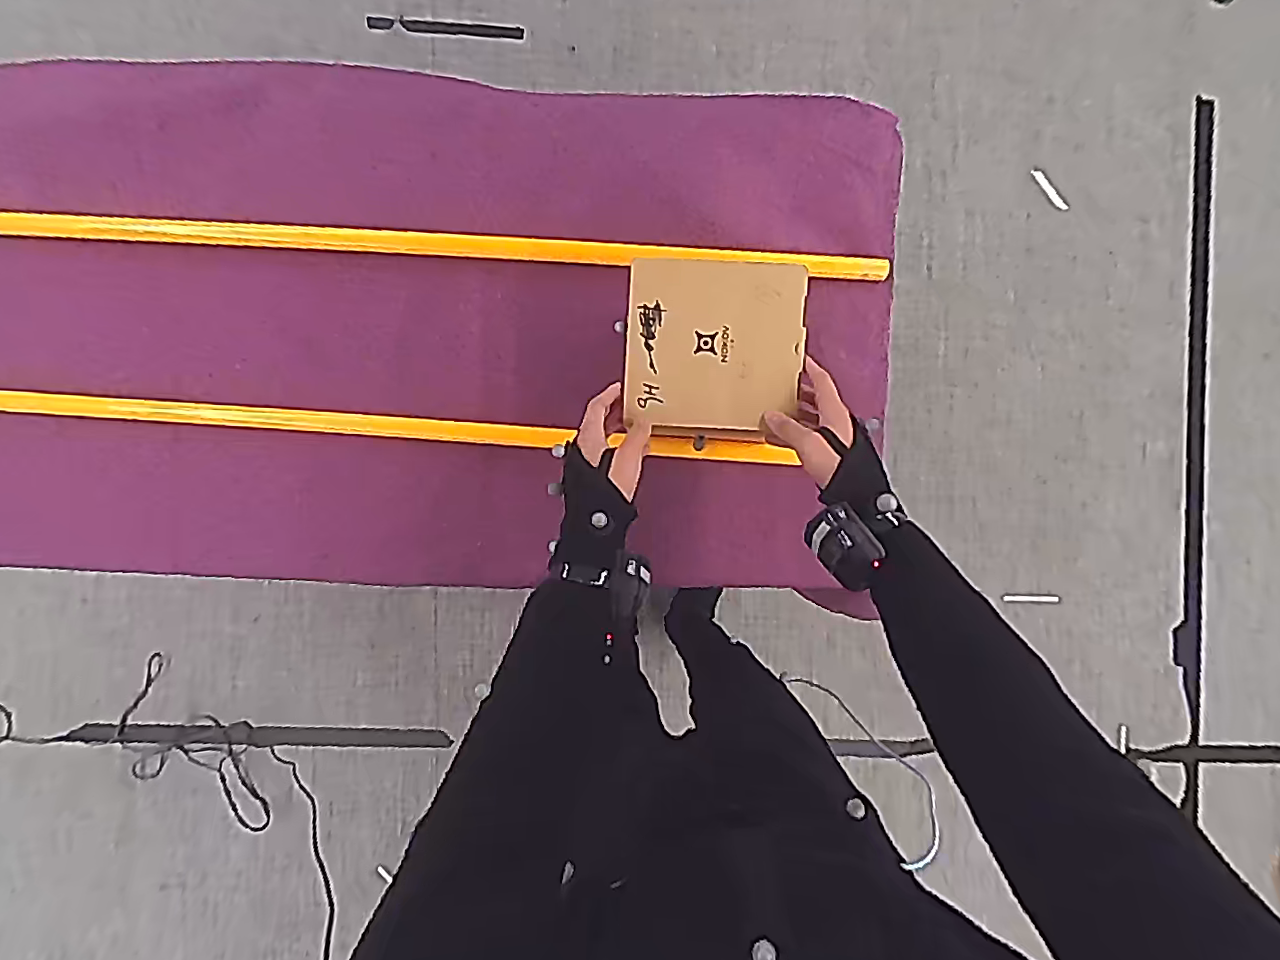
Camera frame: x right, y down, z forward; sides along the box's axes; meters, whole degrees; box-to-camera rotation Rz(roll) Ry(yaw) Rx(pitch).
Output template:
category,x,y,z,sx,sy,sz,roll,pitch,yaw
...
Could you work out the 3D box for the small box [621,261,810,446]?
category,x,y,z,sx,sy,sz,roll,pitch,yaw
small box,0.074,-0.127,0.605,0.179,0.176,0.168,4,91,1
